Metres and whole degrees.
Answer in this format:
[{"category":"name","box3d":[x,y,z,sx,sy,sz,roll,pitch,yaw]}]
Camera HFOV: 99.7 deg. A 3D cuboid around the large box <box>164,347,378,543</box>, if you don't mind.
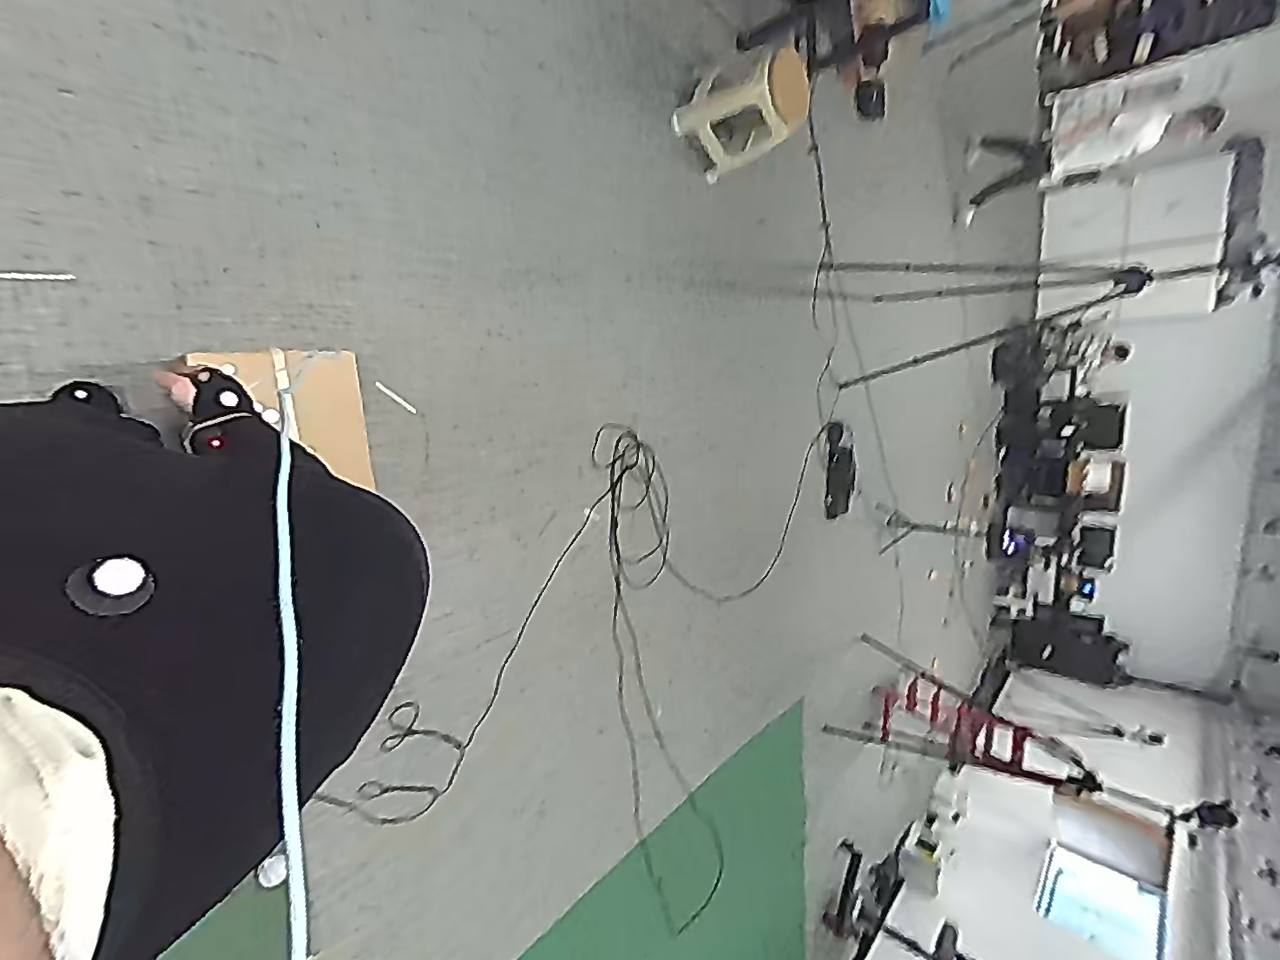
[{"category":"large box","box3d":[-0.877,-0.104,1.295,0.320,0.320,0.408,-15,107,-45]}]
